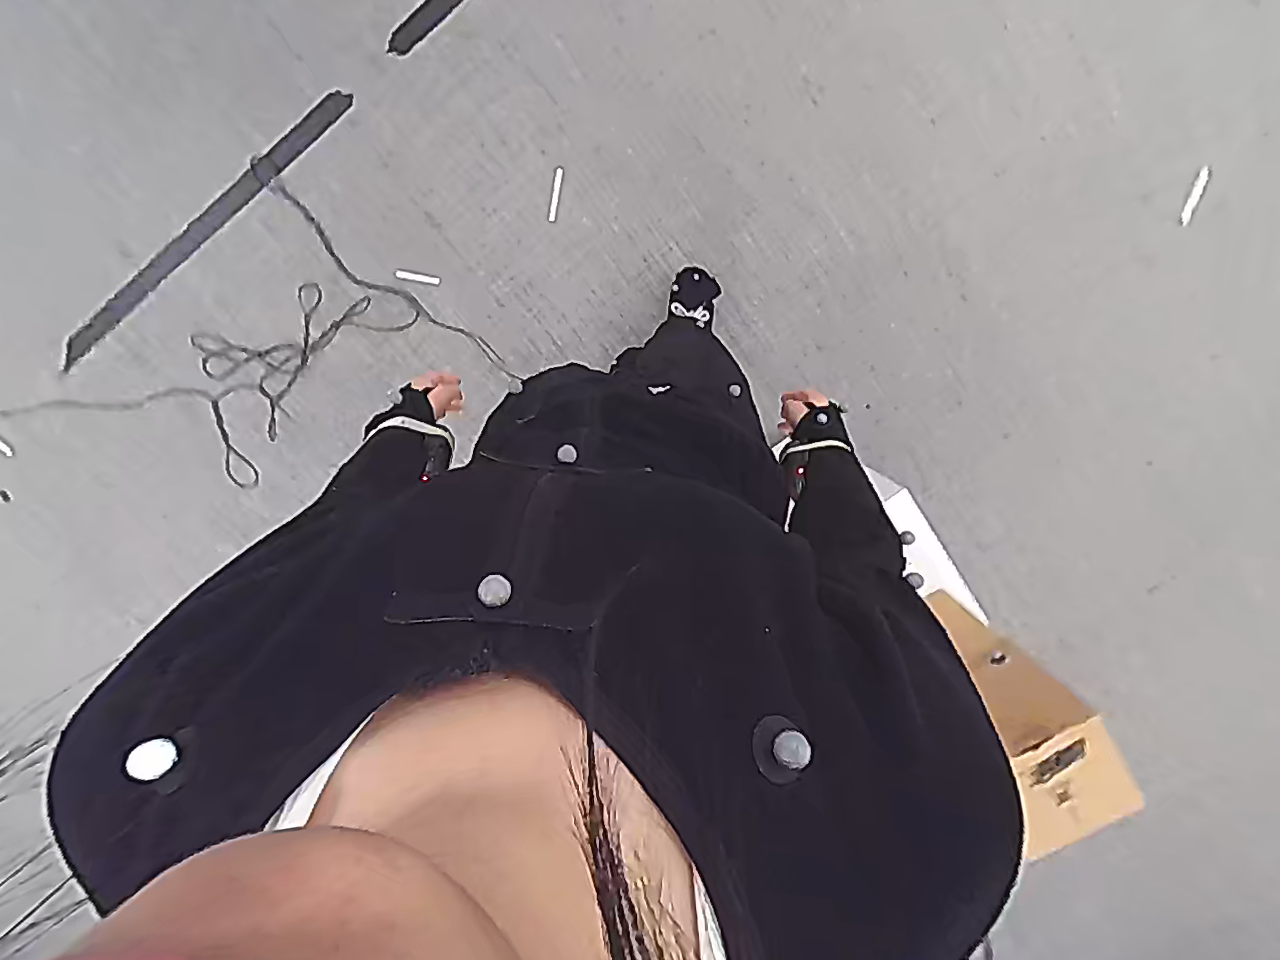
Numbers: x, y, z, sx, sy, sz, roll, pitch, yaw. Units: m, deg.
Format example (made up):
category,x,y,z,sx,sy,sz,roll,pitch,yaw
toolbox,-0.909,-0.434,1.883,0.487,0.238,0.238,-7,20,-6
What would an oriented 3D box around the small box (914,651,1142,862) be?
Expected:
category,x,y,z,sx,sy,sz,roll,pitch,yaw
small box,0.522,0.367,0.753,0.168,0.176,0.179,-33,105,8
